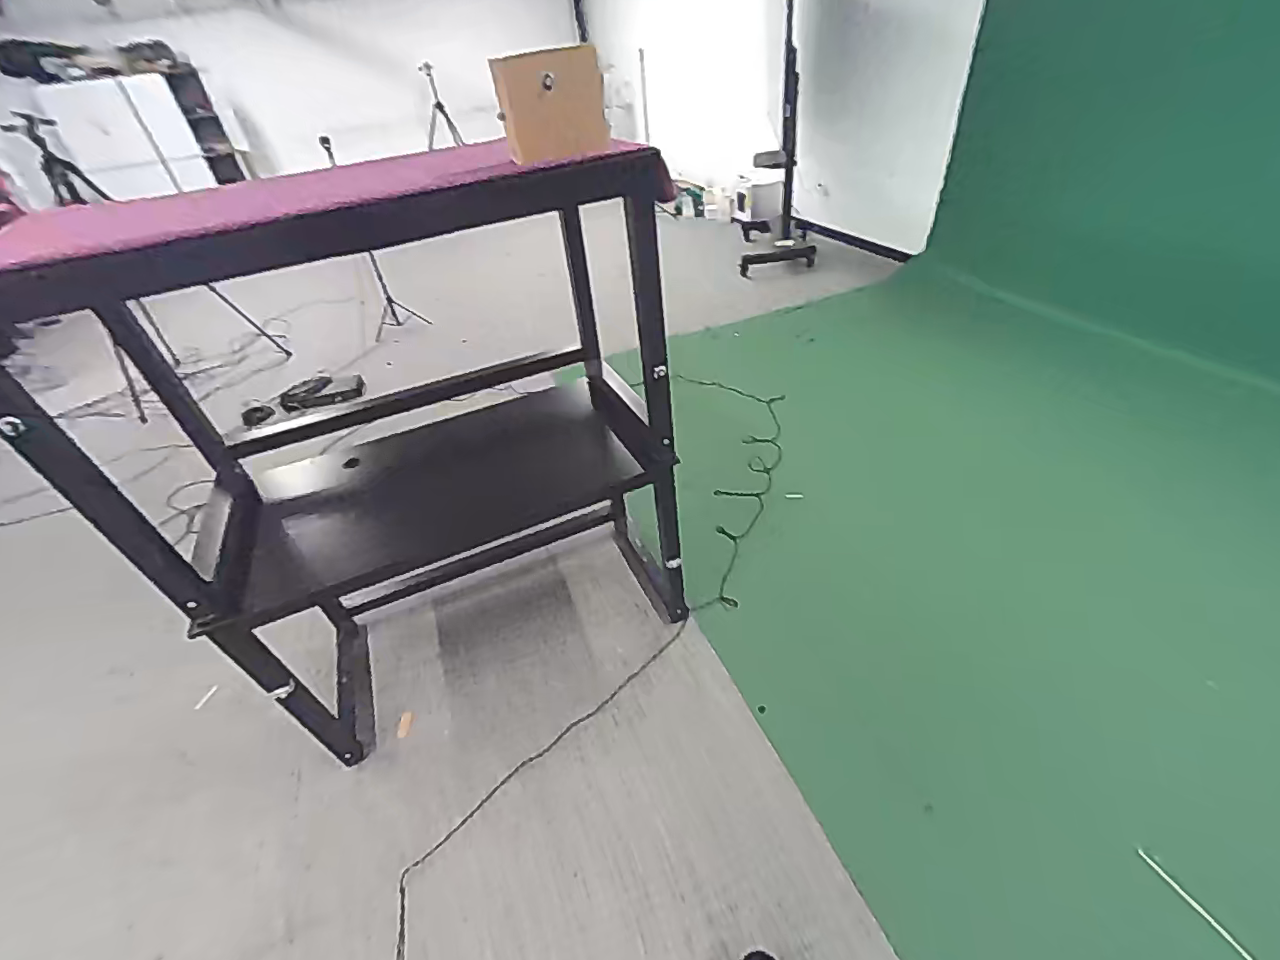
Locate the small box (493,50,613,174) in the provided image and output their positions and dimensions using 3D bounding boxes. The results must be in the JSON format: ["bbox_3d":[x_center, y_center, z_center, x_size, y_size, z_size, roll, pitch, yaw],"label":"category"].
[{"bbox_3d":[-0.165,-0.702,1.034,0.179,0.176,0.168,-17,41,-10],"label":"small box"}]
